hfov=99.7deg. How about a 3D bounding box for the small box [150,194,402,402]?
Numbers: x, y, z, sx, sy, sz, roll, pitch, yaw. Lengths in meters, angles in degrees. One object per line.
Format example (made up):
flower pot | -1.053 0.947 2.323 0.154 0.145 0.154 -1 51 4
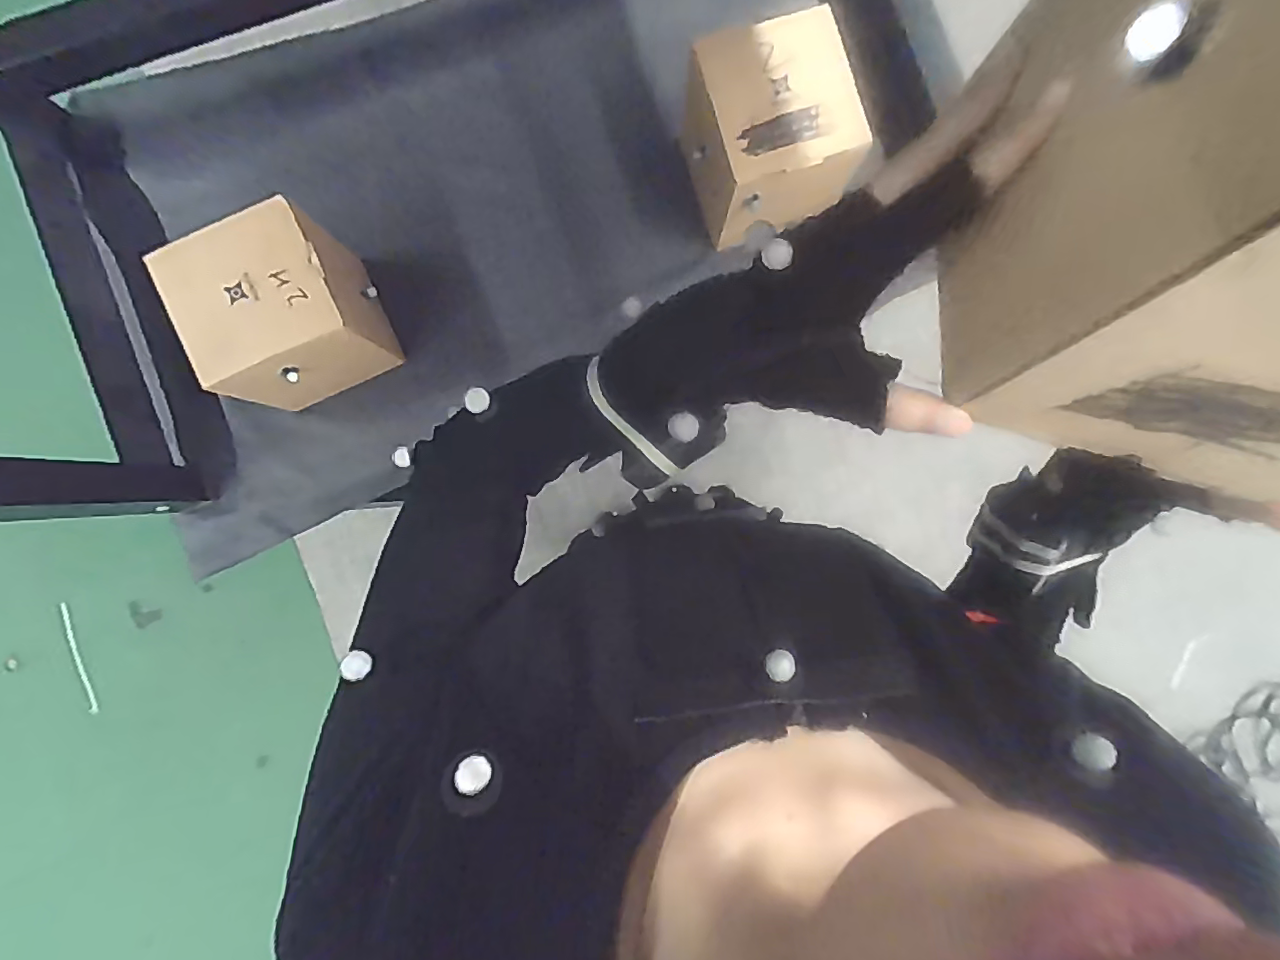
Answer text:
small box | -0.441 -0.213 0.686 0.179 0.176 0.168 -25 90 -2
